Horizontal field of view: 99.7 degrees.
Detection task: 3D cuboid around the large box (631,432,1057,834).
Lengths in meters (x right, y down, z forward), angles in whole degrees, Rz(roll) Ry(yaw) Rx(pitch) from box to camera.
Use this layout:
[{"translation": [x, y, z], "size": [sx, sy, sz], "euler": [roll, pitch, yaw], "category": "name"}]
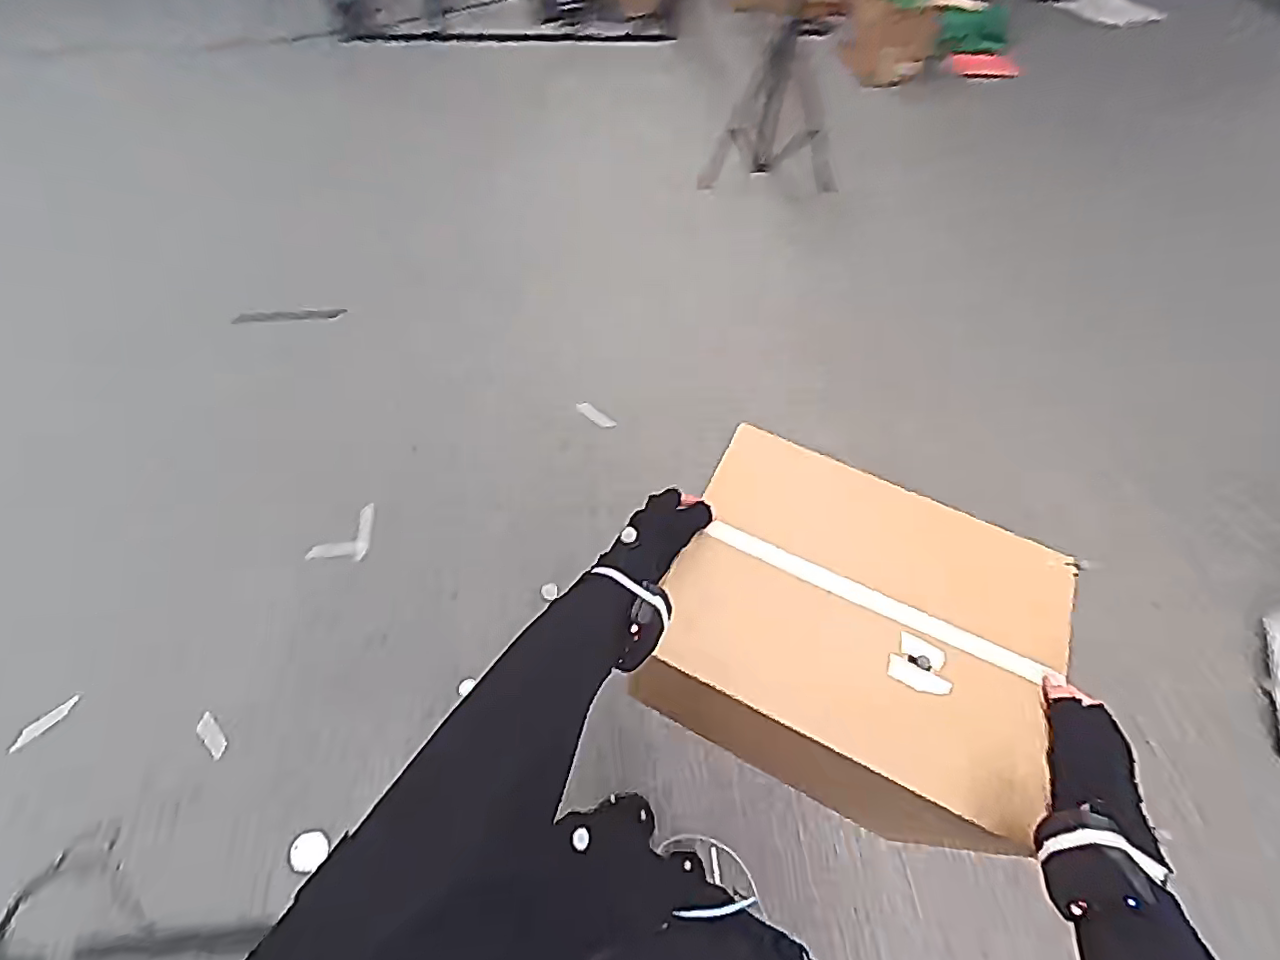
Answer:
[{"translation": [0.230, 0.201, 0.716], "size": [0.408, 0.320, 0.320], "euler": [23, 63, 11], "category": "large box"}]
